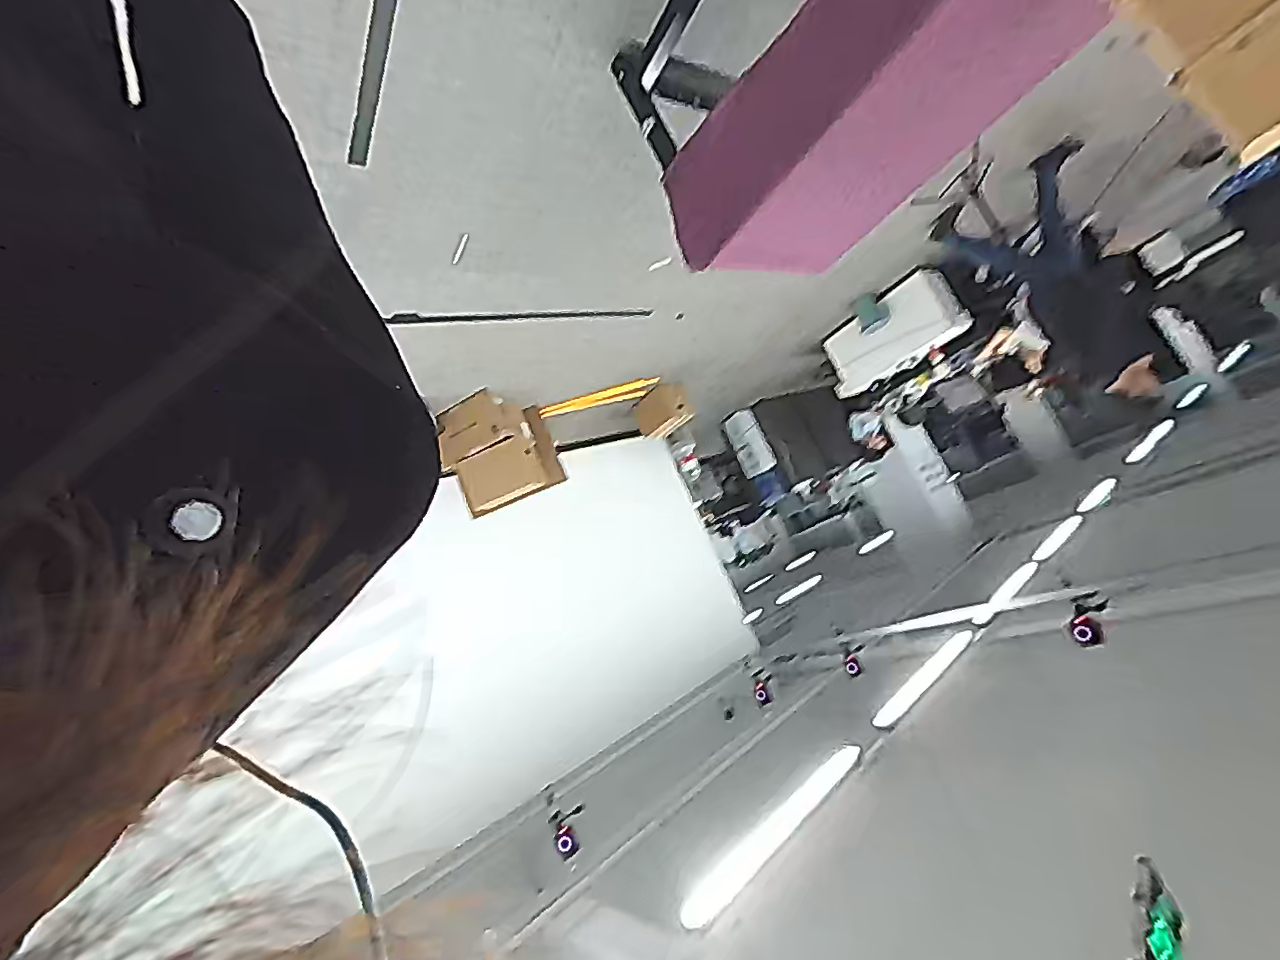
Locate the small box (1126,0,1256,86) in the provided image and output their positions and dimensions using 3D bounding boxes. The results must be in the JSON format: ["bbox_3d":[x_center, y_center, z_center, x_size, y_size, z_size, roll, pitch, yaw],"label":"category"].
[{"bbox_3d":[0.951,-0.813,0.886,0.168,0.176,0.179,-14,165,-46],"label":"small box"}]

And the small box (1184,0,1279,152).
[{"bbox_3d":[1.014,-0.666,0.855,0.179,0.176,0.168,-17,168,-40],"label":"small box"}]
